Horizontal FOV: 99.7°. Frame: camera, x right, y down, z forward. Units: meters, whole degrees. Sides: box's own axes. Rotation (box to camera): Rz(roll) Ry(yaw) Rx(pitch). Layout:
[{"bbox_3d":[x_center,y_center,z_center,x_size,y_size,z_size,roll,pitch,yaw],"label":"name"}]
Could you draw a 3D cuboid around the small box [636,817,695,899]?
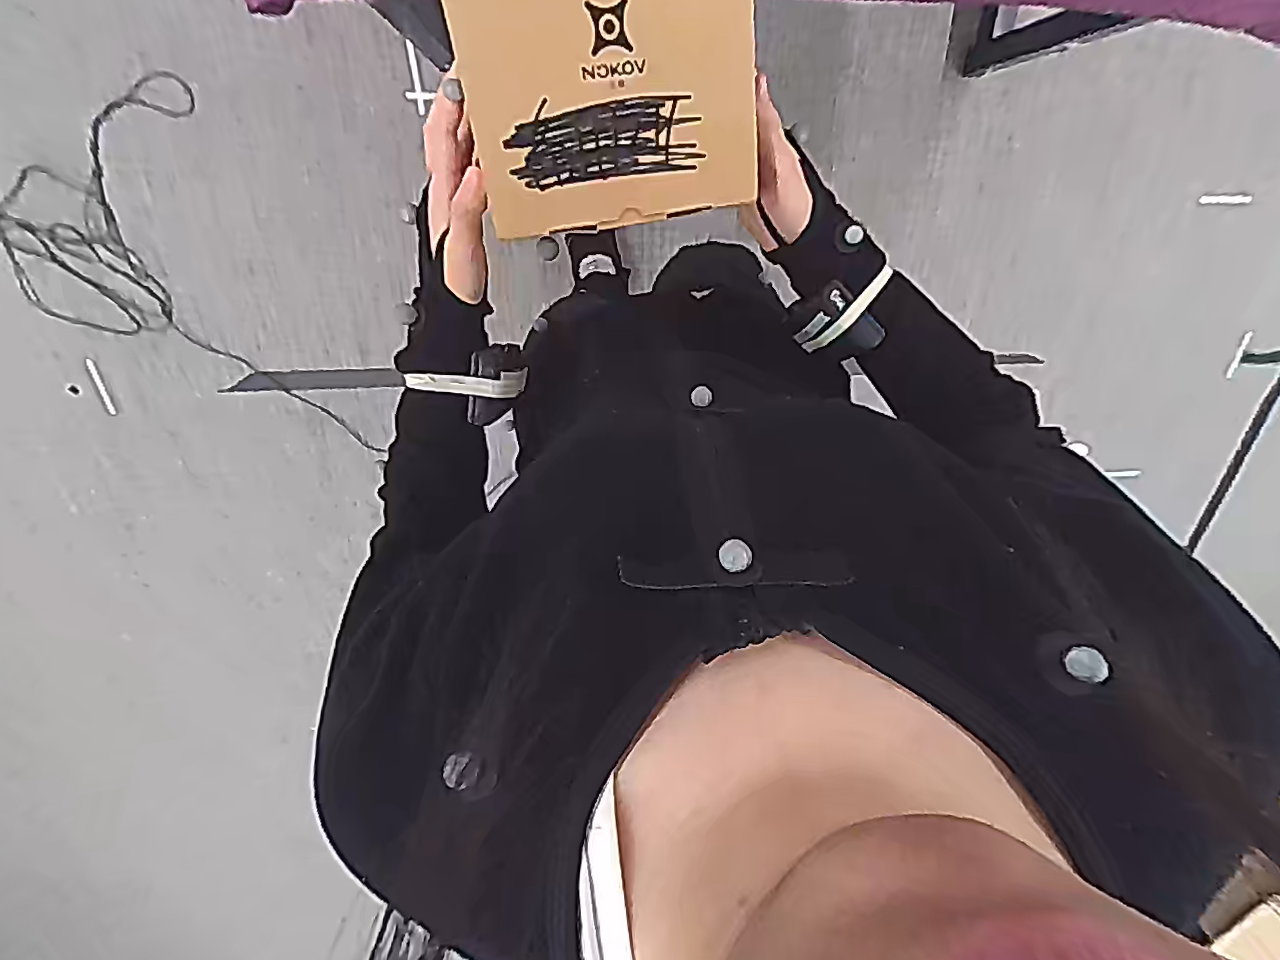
[{"bbox_3d":[0.083,1.272,1.830,0.179,0.176,0.168,-4,116,-4],"label":"small box"}]
